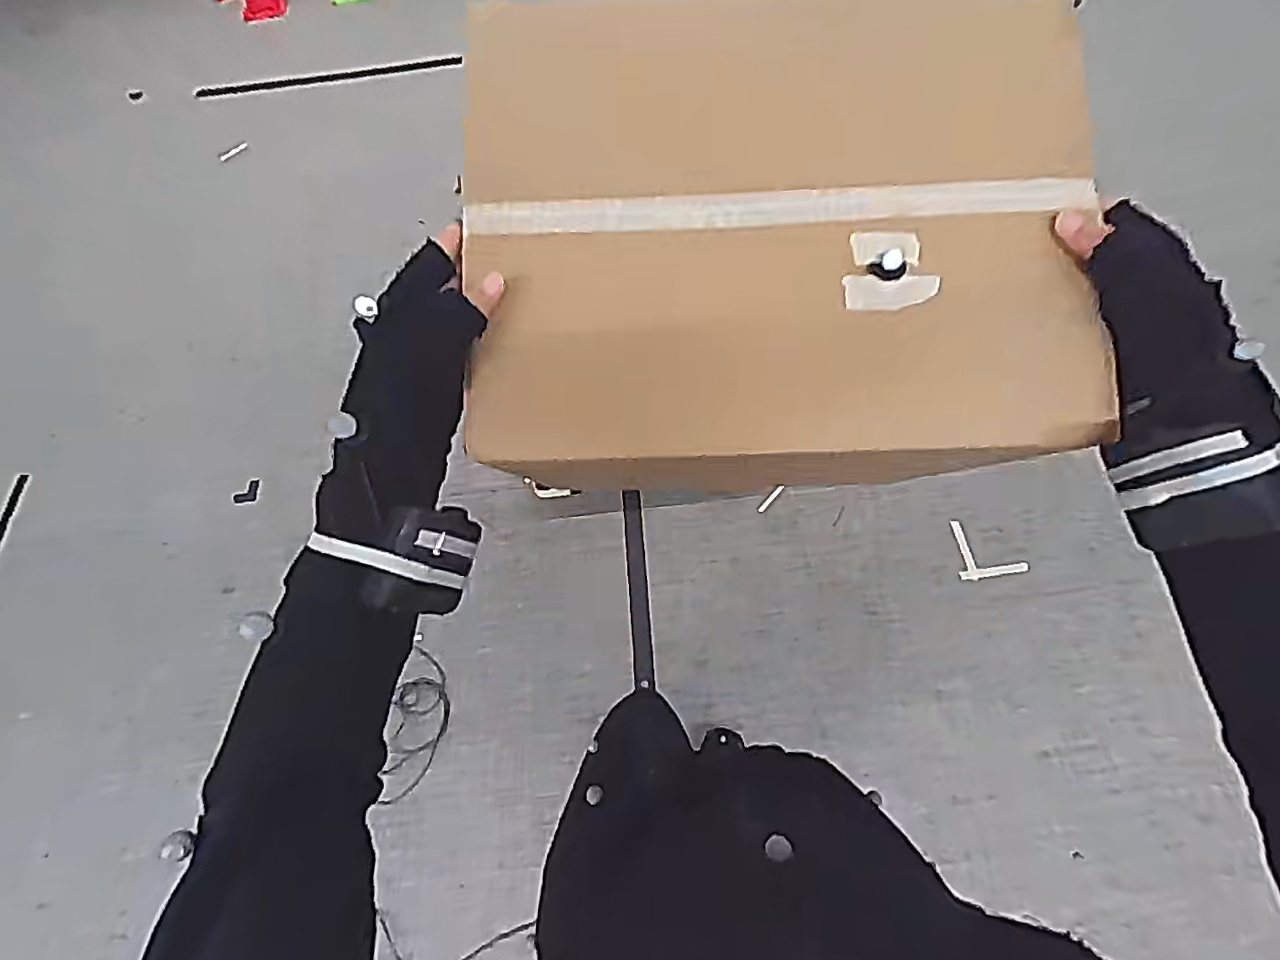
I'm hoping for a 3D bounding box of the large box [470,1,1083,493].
[{"bbox_3d":[0.085,-0.160,0.514,0.408,0.320,0.320,-2,86,1],"label":"large box"}]
